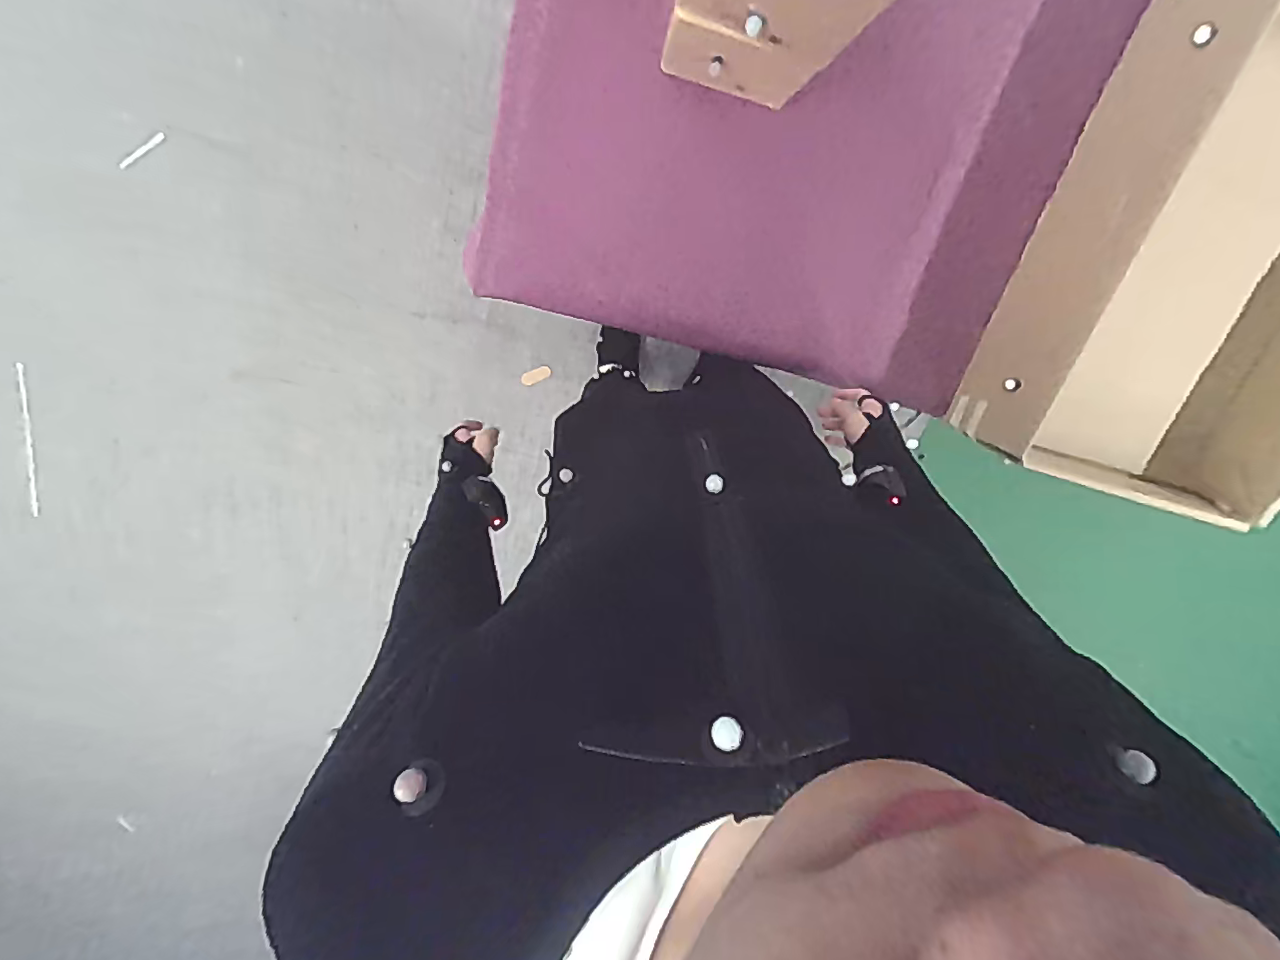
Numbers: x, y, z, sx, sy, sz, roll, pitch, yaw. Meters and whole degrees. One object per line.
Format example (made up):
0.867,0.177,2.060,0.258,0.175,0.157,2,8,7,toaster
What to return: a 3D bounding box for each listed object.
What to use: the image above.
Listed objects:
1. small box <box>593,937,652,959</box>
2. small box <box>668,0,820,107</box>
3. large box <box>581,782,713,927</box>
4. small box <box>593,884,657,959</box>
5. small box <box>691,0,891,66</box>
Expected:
-0.044,1.540,1.634,0.168,0.176,0.179,-15,109,2,small box
0.133,-0.557,0.607,0.168,0.176,0.179,13,108,-7,small box
0.020,1.416,2.028,0.408,0.320,0.320,-16,111,2,large box
-0.047,1.492,1.790,0.179,0.176,0.168,-17,110,3,small box
0.148,-0.502,0.453,0.168,0.176,0.179,17,109,-8,small box
